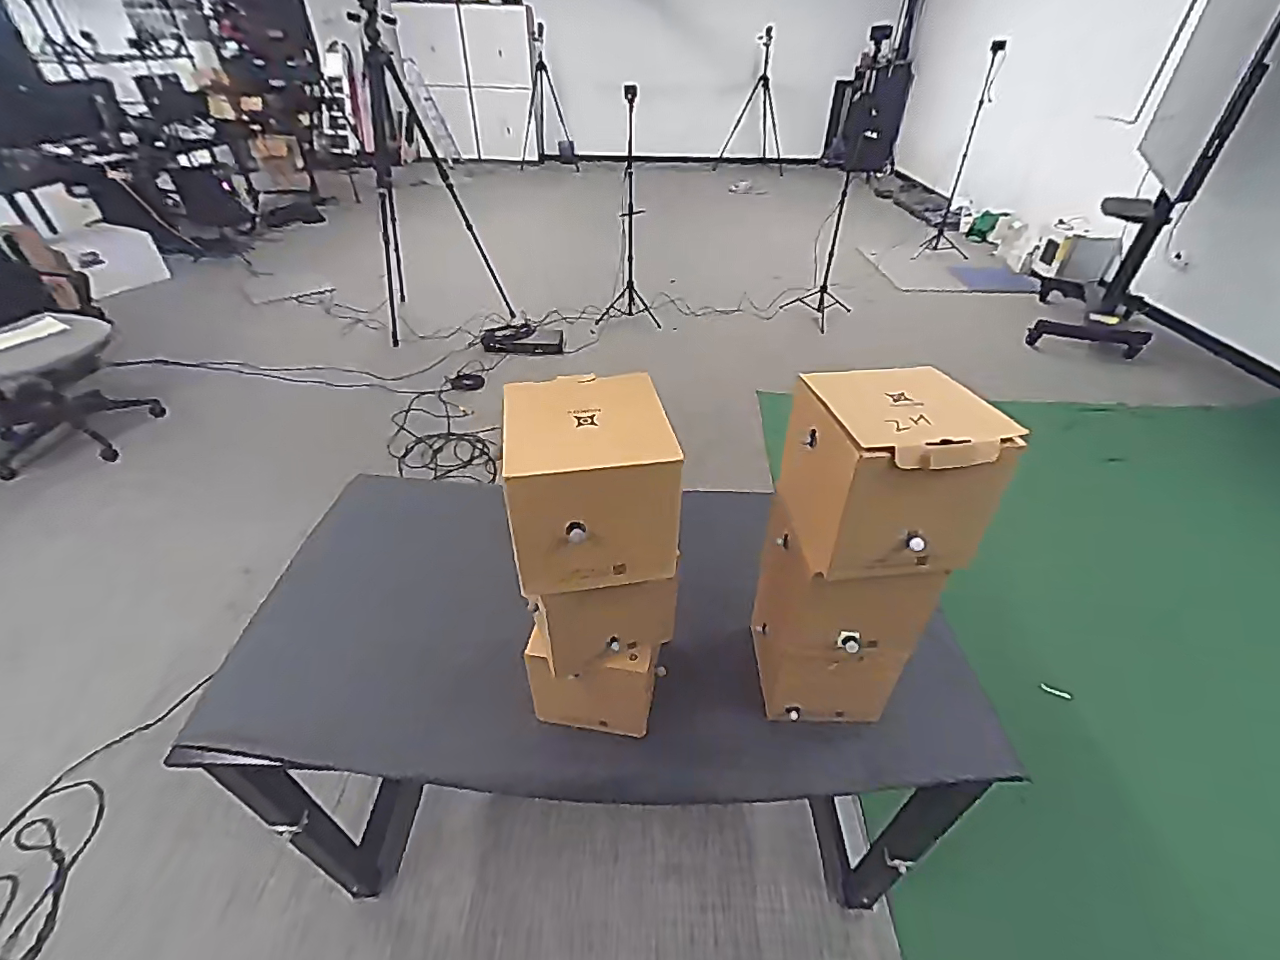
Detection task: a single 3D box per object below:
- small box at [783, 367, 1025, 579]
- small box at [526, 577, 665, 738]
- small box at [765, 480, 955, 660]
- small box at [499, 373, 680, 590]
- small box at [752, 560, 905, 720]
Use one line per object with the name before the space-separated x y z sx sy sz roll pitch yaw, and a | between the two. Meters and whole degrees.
small box | 0.273 -0.012 0.613 0.168 0.176 0.179 -5 37 -4
small box | -0.058 0.250 0.808 0.168 0.176 0.179 6 37 7
small box | 0.271 0.115 0.719 0.168 0.176 0.179 -2 38 -1
small box | -0.057 0.004 0.591 0.168 0.176 0.179 -7 39 -9
small box | 0.271 0.242 0.820 0.168 0.176 0.179 1 36 1
